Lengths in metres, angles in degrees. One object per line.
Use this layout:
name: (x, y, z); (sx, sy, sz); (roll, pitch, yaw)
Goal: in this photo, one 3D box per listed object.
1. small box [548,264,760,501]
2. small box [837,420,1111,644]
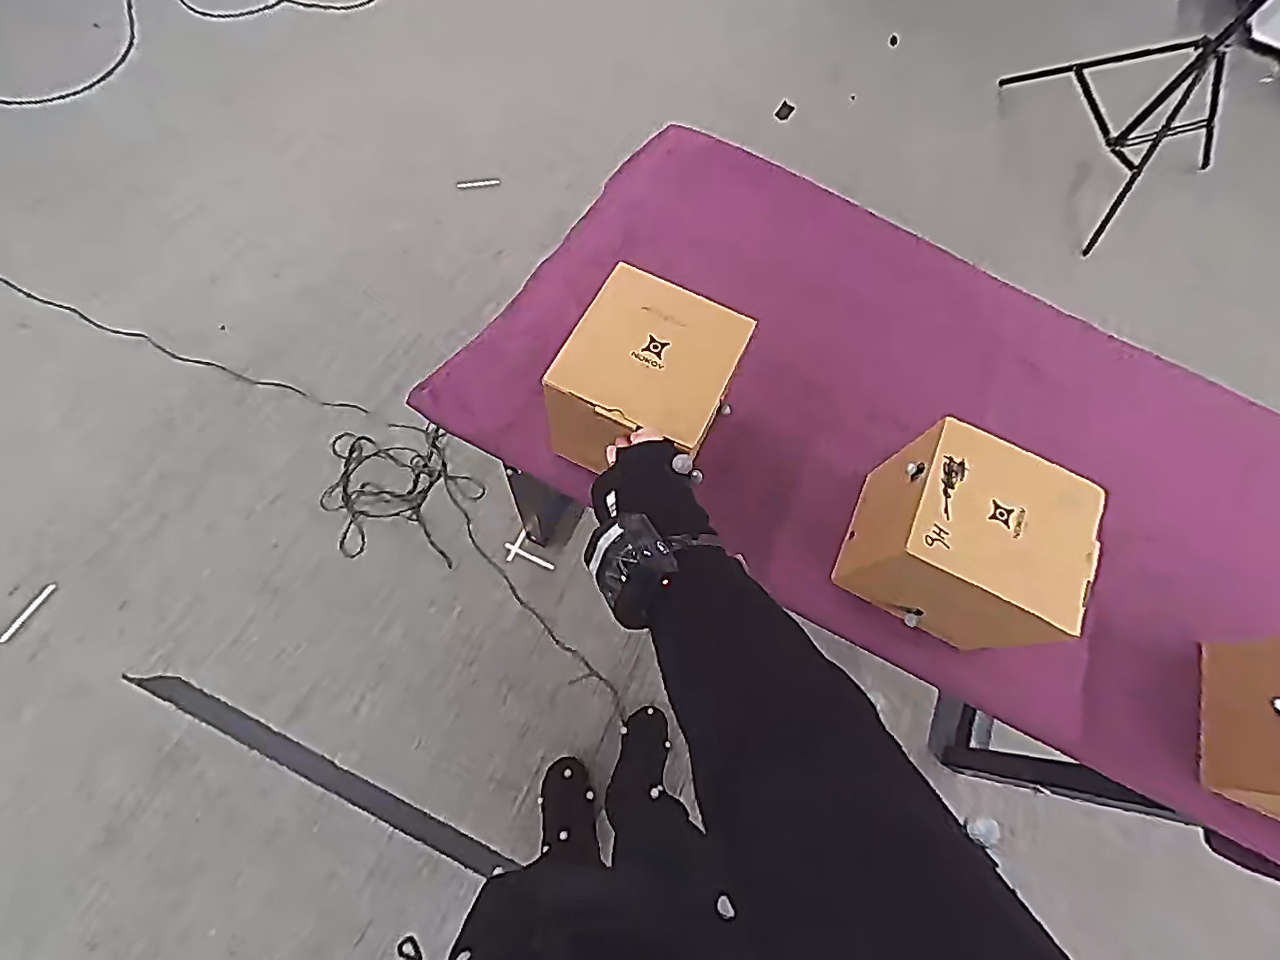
small box: (0.012, -0.100, 0.622); (0.168, 0.176, 0.179); (26, 67, 4)
small box: (0.354, 0.068, 0.599); (0.179, 0.176, 0.168); (27, 69, 4)
